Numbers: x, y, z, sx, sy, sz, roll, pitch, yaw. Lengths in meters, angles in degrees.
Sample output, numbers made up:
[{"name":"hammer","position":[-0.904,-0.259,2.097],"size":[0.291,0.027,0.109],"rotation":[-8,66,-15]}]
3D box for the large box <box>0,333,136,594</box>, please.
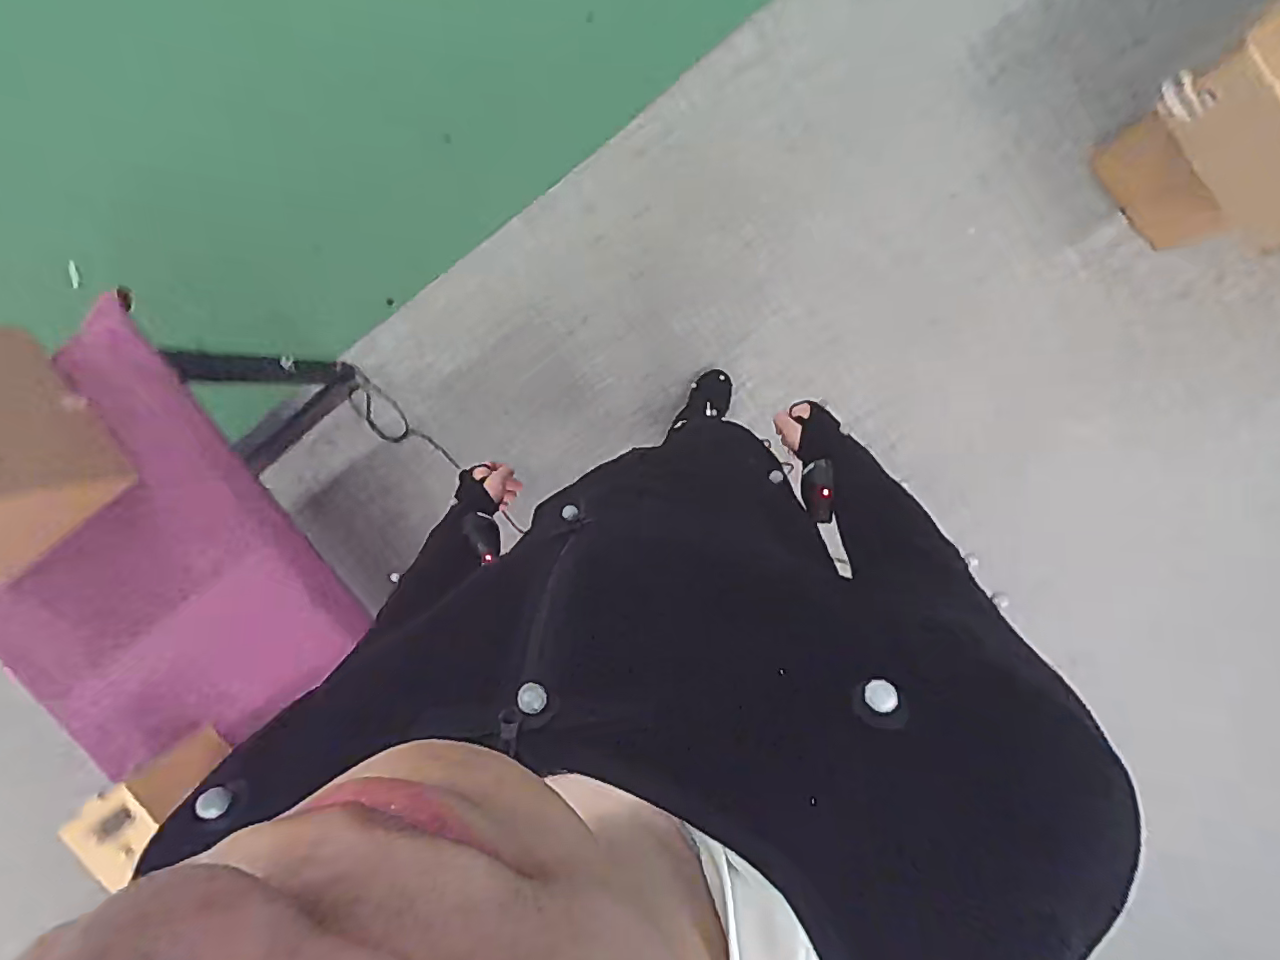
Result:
[{"name":"large box","position":[-1.132,0.008,0.818],"size":[0.408,0.320,0.320],"rotation":[-34,97,8]}]
